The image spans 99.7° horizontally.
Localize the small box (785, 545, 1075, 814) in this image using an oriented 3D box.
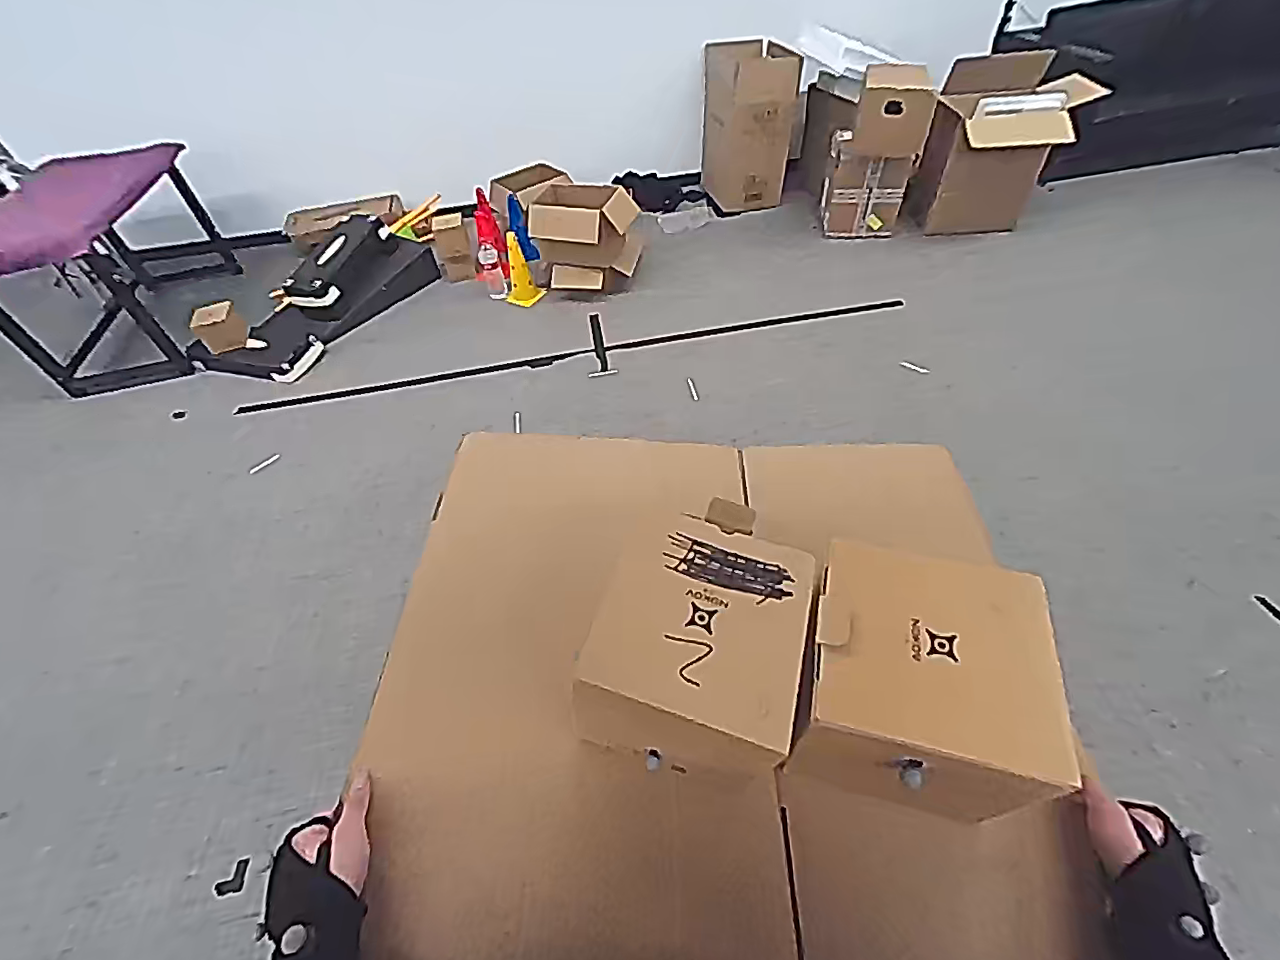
[{"bbox_3d":[0.241,0.187,0.497,0.179,0.176,0.168,9,51,12],"label":"small box"}]
